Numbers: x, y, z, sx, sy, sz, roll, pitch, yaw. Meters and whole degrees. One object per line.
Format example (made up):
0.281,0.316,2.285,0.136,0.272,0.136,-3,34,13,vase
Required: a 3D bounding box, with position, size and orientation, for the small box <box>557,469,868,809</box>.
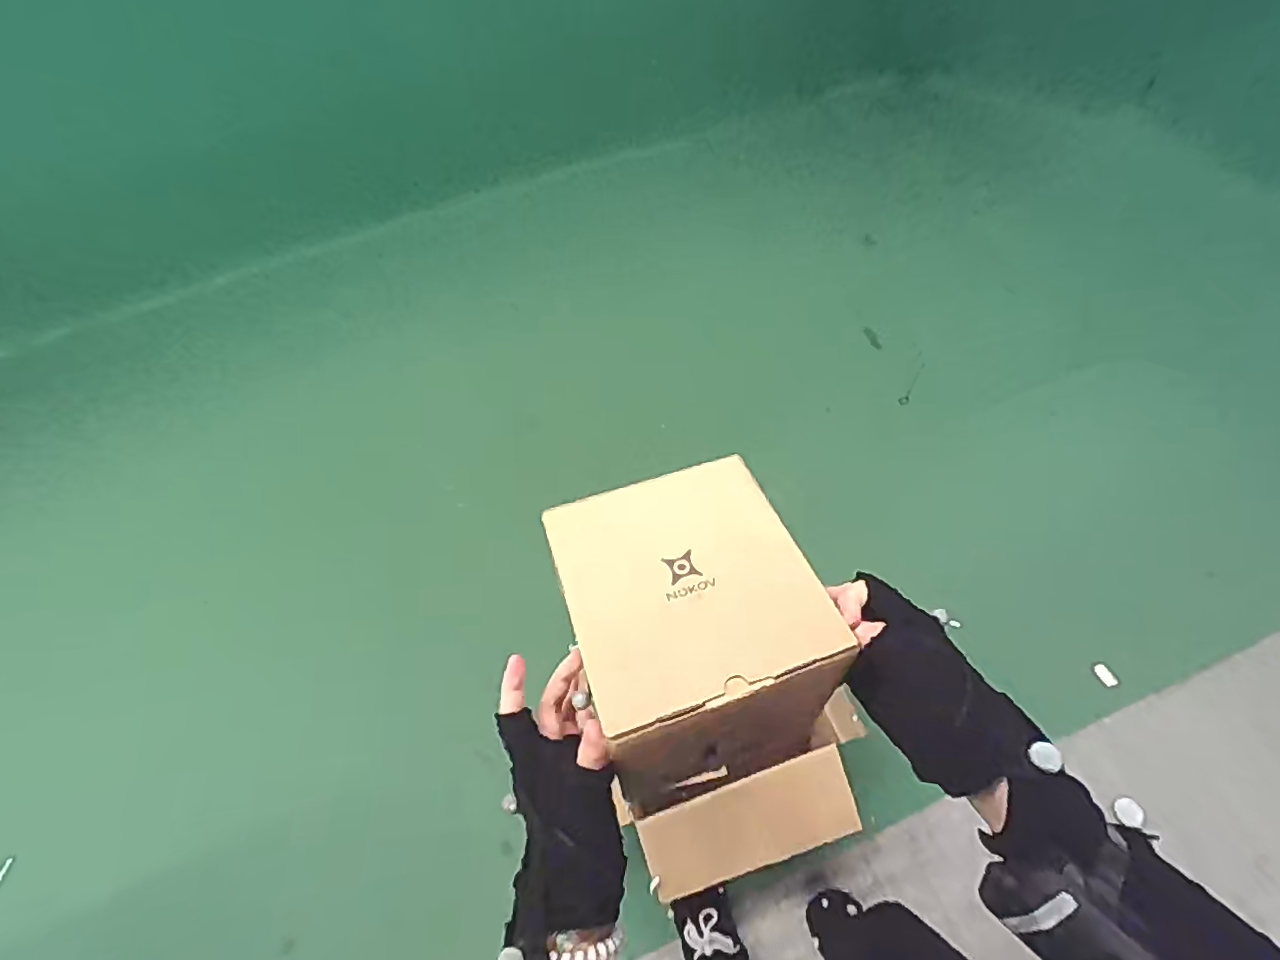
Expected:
0.041,0.125,0.432,0.168,0.176,0.179,-17,49,-12,small box
